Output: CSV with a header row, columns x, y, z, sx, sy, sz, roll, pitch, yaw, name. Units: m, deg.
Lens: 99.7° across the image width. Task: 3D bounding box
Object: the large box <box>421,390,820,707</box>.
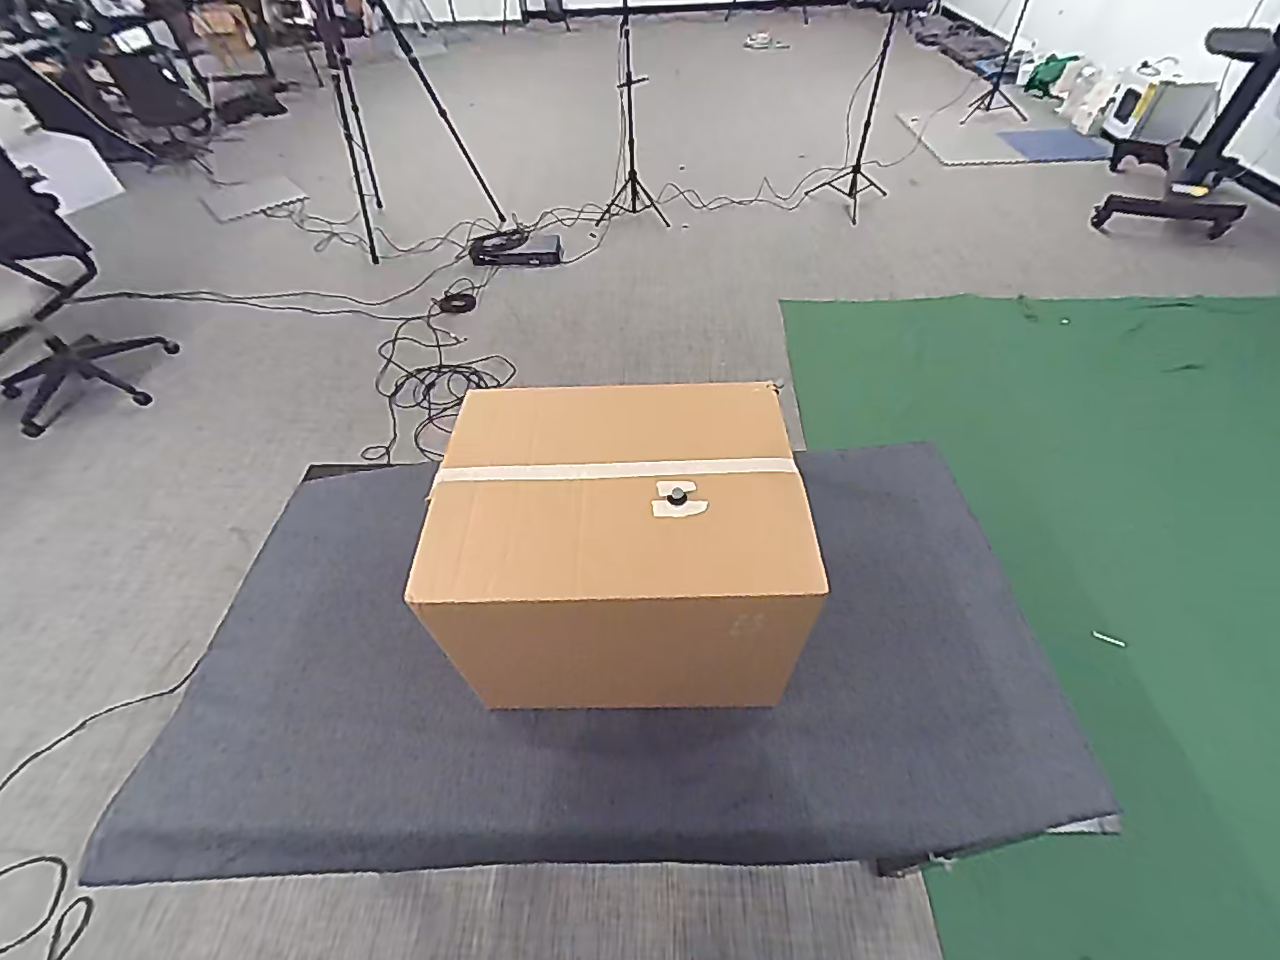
x,y,z,sx,sy,sz,roll,pitch,yaw,name
-0.021,0.098,0.737,0.408,0.320,0.320,-1,50,1,large box
